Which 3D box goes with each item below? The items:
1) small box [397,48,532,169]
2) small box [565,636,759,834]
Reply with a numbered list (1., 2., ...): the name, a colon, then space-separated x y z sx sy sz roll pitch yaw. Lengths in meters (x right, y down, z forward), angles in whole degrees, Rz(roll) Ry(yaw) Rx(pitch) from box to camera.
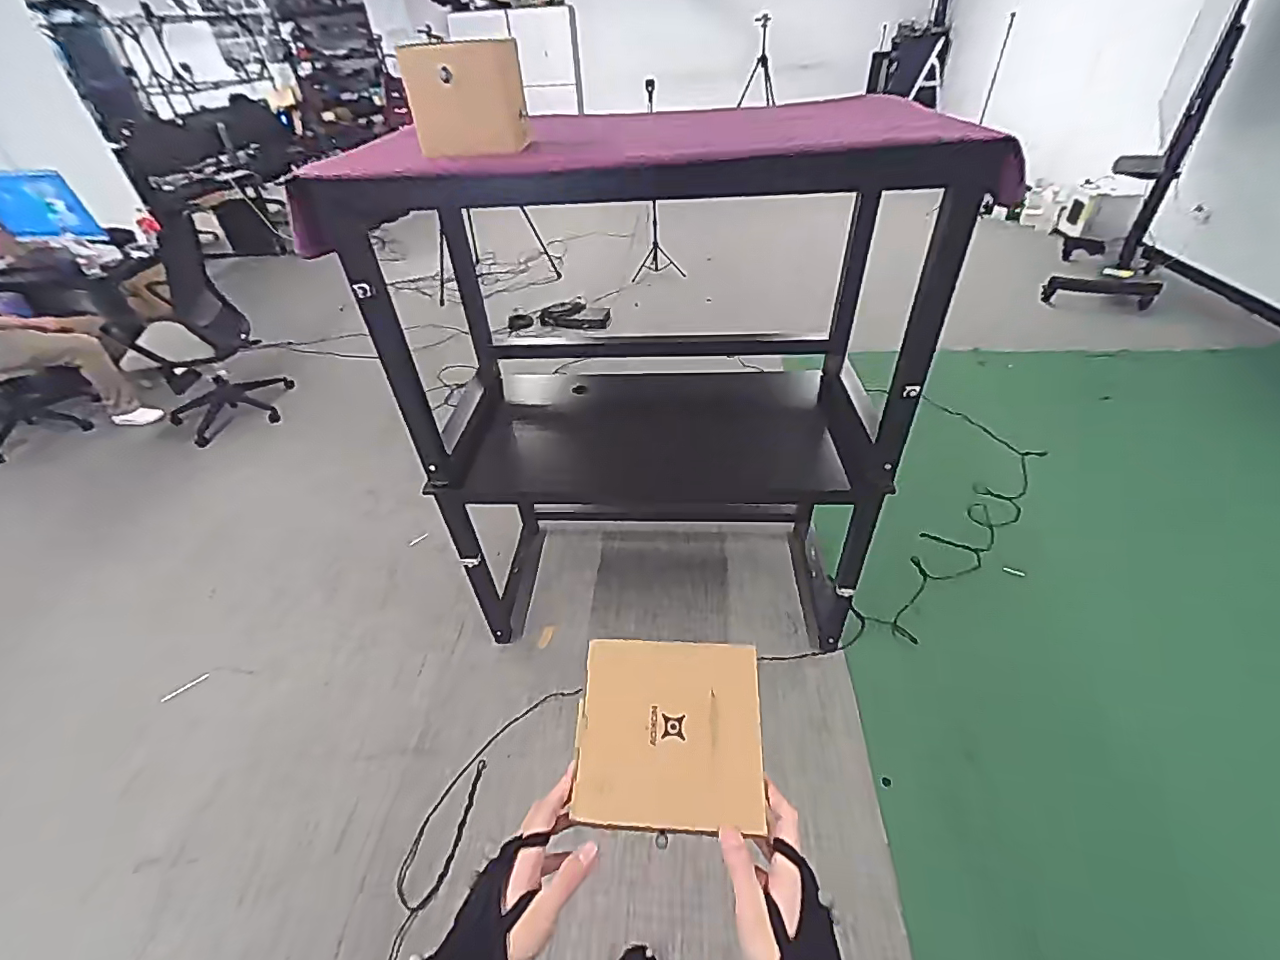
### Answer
1. small box: -0.314 -0.693 1.010 0.179 0.176 0.168 -1 41 3
2. small box: 0.031 0.279 0.587 0.179 0.176 0.168 1 56 6
